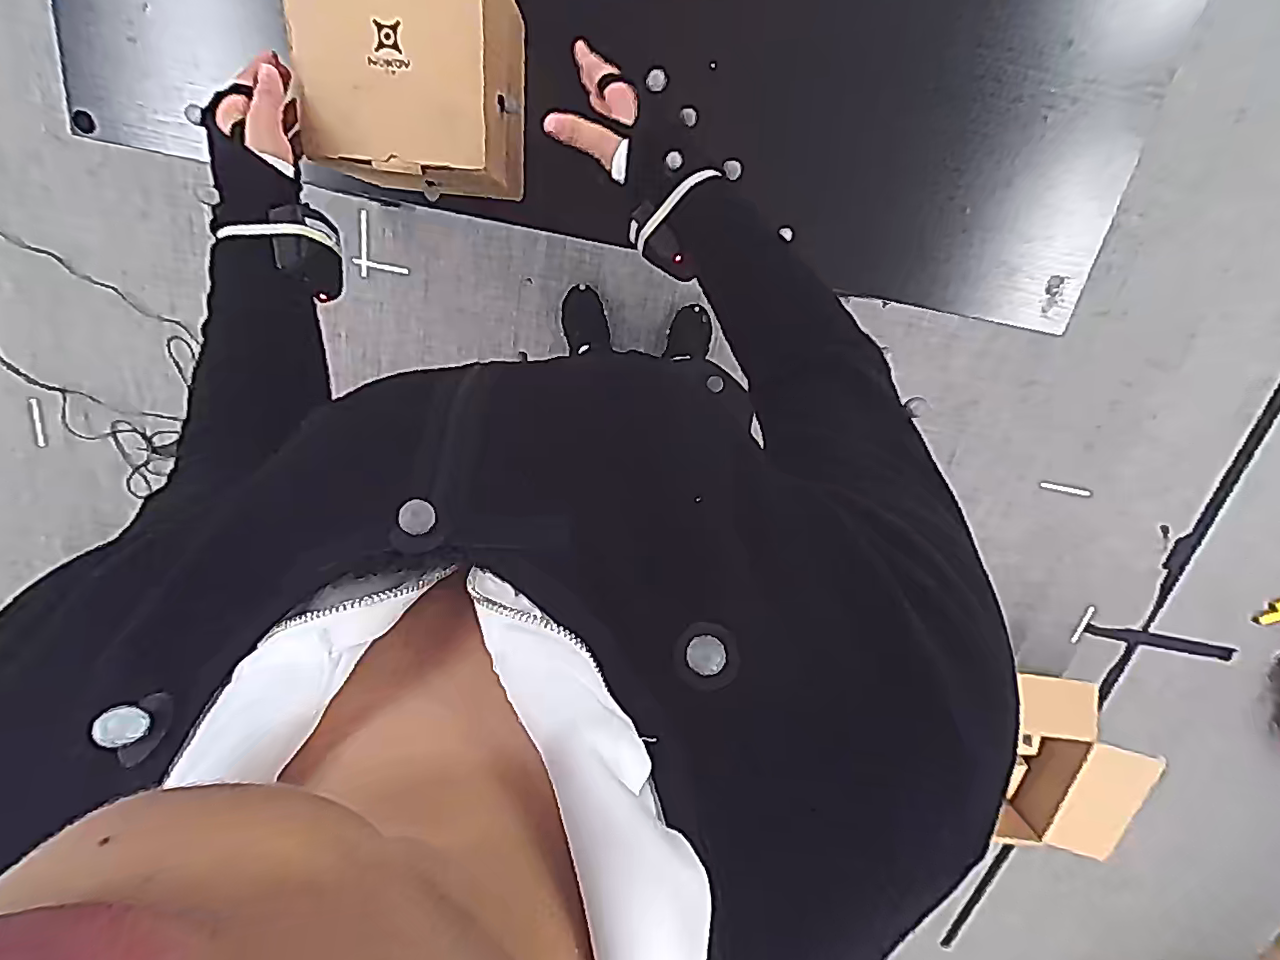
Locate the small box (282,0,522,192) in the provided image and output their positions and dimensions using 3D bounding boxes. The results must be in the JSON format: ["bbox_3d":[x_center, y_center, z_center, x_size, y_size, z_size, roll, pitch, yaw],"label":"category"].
[{"bbox_3d":[-0.215,-0.394,0.531,0.168,0.176,0.179,5,110,-1],"label":"small box"}]

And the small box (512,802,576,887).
[{"bbox_3d":[-0.327,1.256,1.872,0.179,0.176,0.168,12,108,-3],"label":"small box"}]
